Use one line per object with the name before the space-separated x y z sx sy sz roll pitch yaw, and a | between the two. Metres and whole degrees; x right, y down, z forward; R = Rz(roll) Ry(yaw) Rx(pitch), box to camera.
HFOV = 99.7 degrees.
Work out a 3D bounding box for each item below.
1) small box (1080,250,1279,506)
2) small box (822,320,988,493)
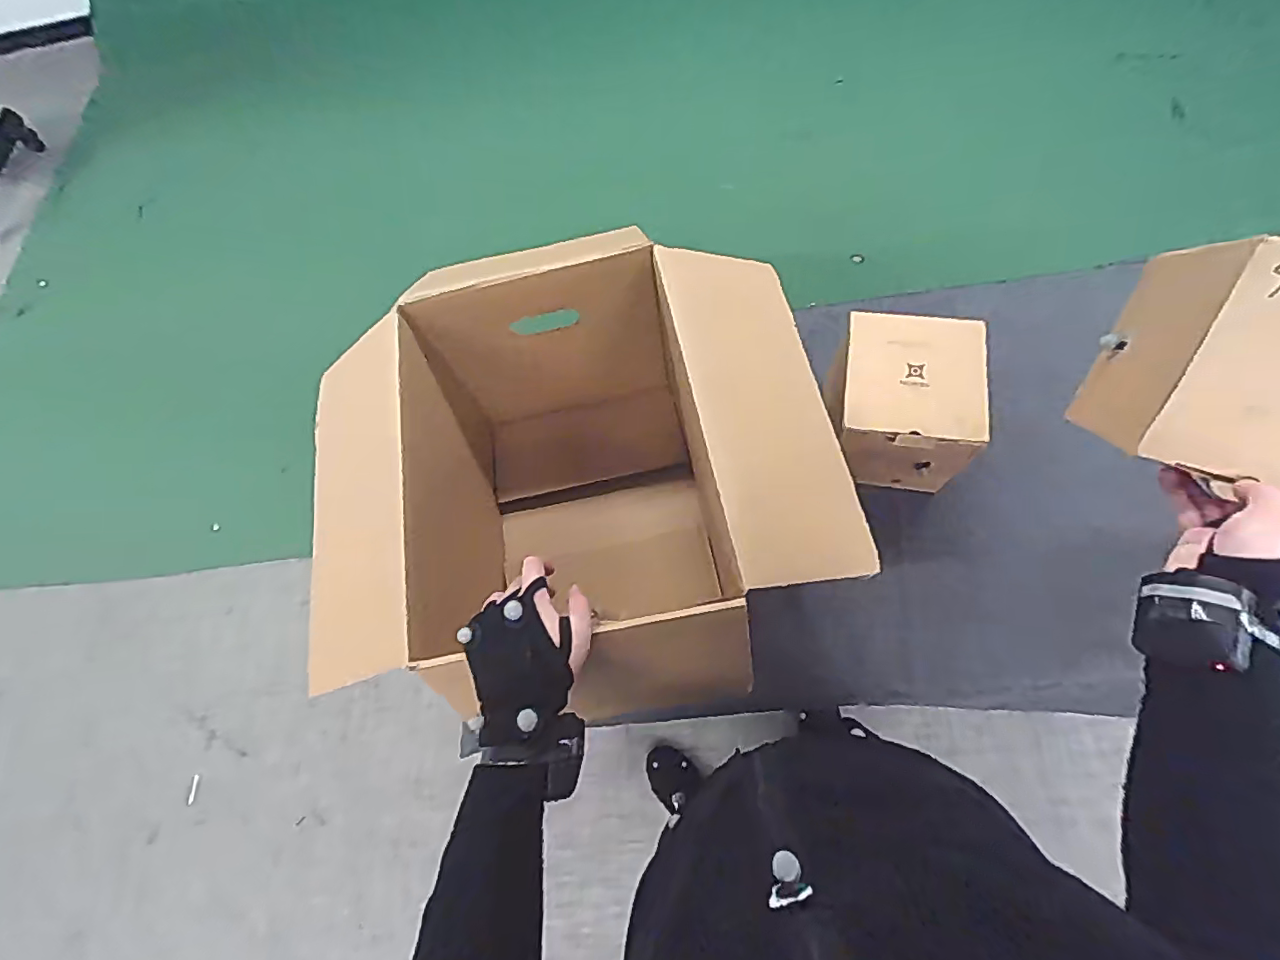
small box | 0.543 -0.088 0.484 0.168 0.176 0.179 21 112 15
small box | 0.358 -0.094 0.754 0.168 0.176 0.179 8 70 9
